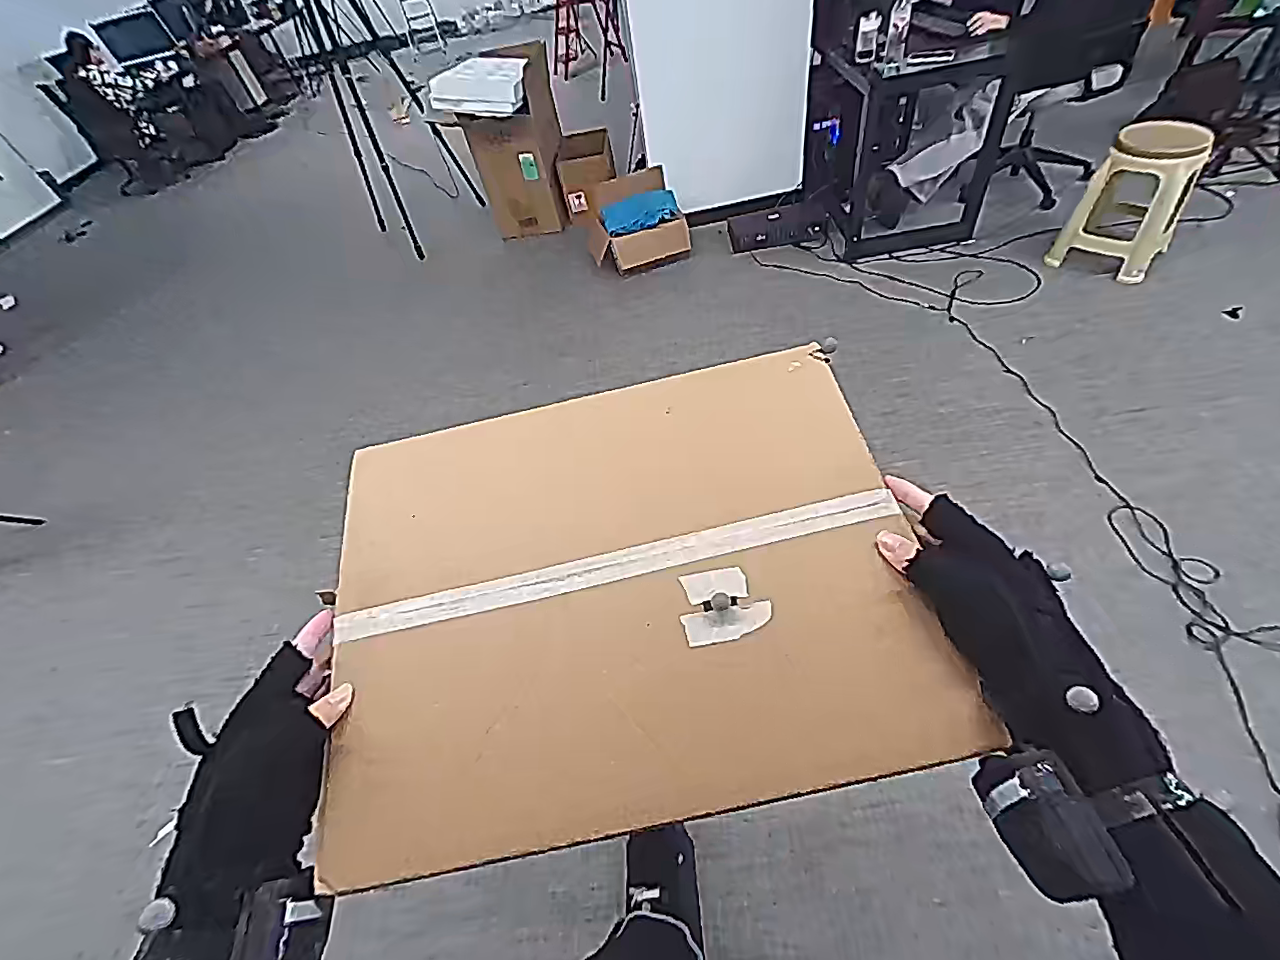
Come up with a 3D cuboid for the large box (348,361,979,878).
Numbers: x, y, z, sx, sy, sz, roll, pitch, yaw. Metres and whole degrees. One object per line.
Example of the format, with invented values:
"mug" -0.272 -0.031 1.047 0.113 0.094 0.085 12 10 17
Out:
"large box" 0.002 0.141 0.528 0.408 0.320 0.320 -13 60 0
